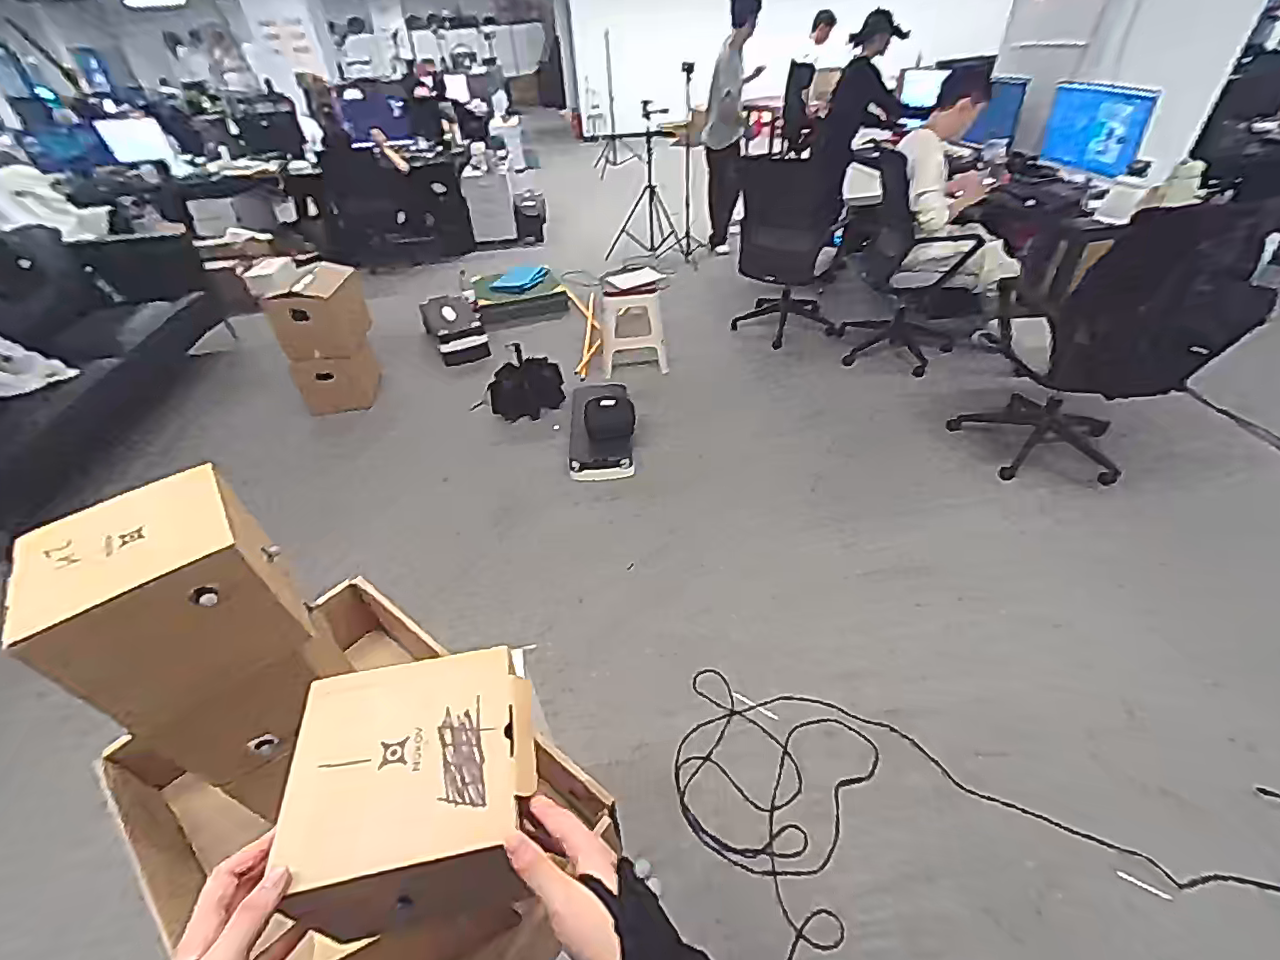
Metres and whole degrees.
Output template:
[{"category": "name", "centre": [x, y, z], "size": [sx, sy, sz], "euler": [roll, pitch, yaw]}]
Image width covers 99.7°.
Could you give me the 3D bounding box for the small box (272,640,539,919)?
[{"category": "small box", "centre": [-0.188, 0.275, 0.500], "size": [0.179, 0.176, 0.168], "euler": [-7, 43, -8]}]

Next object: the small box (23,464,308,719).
[{"category": "small box", "centre": [-0.497, 0.118, 0.595], "size": [0.179, 0.176, 0.168], "euler": [-30, 47, -25]}]

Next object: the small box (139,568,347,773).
[{"category": "small box", "centre": [-0.503, 0.239, 0.709], "size": [0.168, 0.176, 0.179], "euler": [-28, 47, -23]}]
